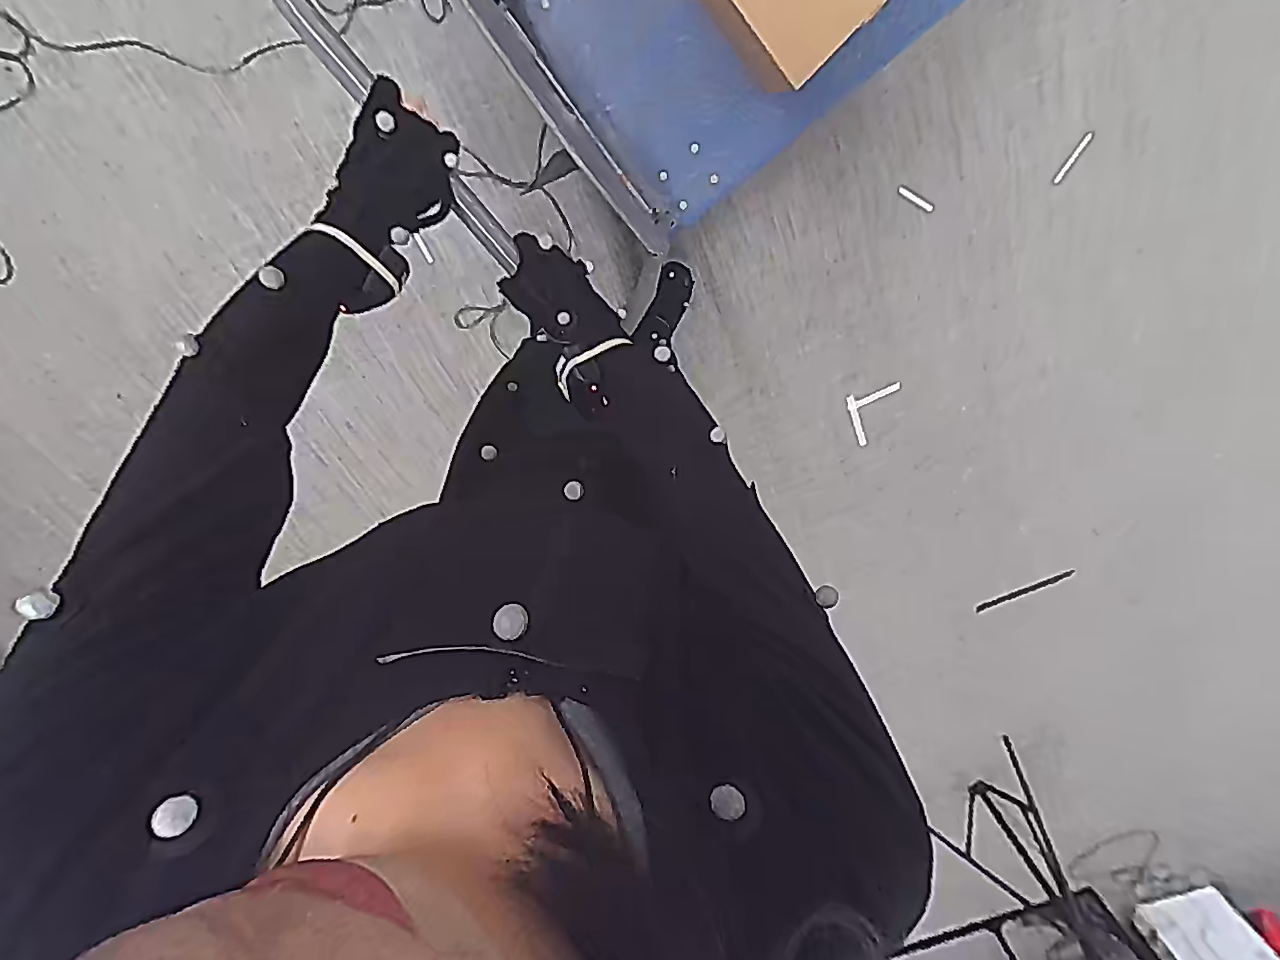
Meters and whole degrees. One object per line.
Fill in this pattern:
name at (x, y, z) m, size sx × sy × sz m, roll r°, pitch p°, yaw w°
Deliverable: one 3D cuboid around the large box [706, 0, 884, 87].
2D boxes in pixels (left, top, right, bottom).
large box at (0.208, -0.866, 0.776) m, size 0.408 × 0.320 × 0.320 m, roll 39°, pitch 120°, yaw -21°
